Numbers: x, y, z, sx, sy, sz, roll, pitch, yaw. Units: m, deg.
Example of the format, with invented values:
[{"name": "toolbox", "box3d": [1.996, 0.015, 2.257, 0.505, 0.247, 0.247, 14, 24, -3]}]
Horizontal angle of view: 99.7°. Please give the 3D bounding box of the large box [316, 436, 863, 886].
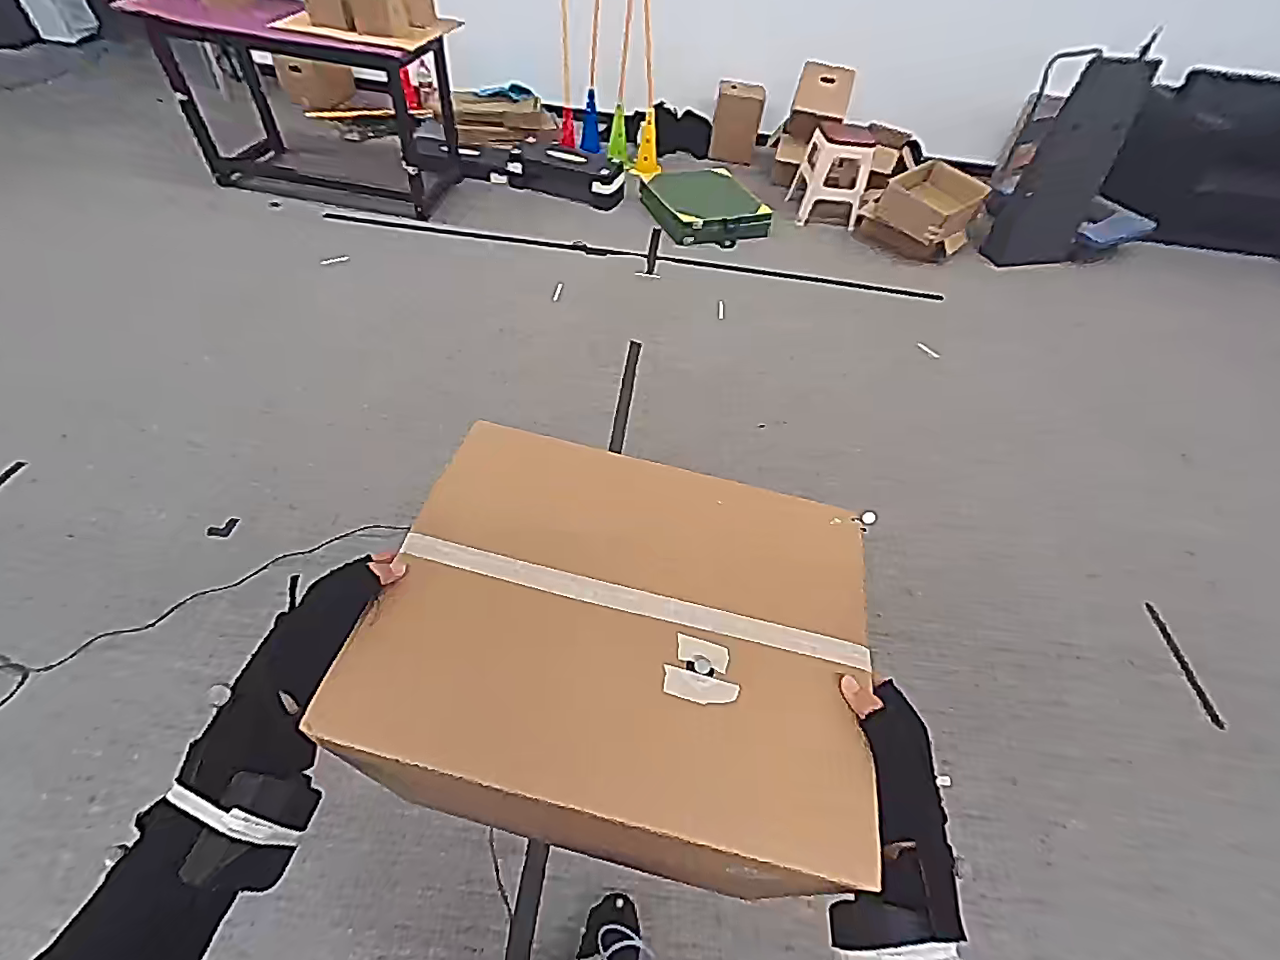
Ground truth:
[{"name": "large box", "box3d": [-0.029, 0.202, 0.584, 0.408, 0.320, 0.320, 14, 52, 2]}]
